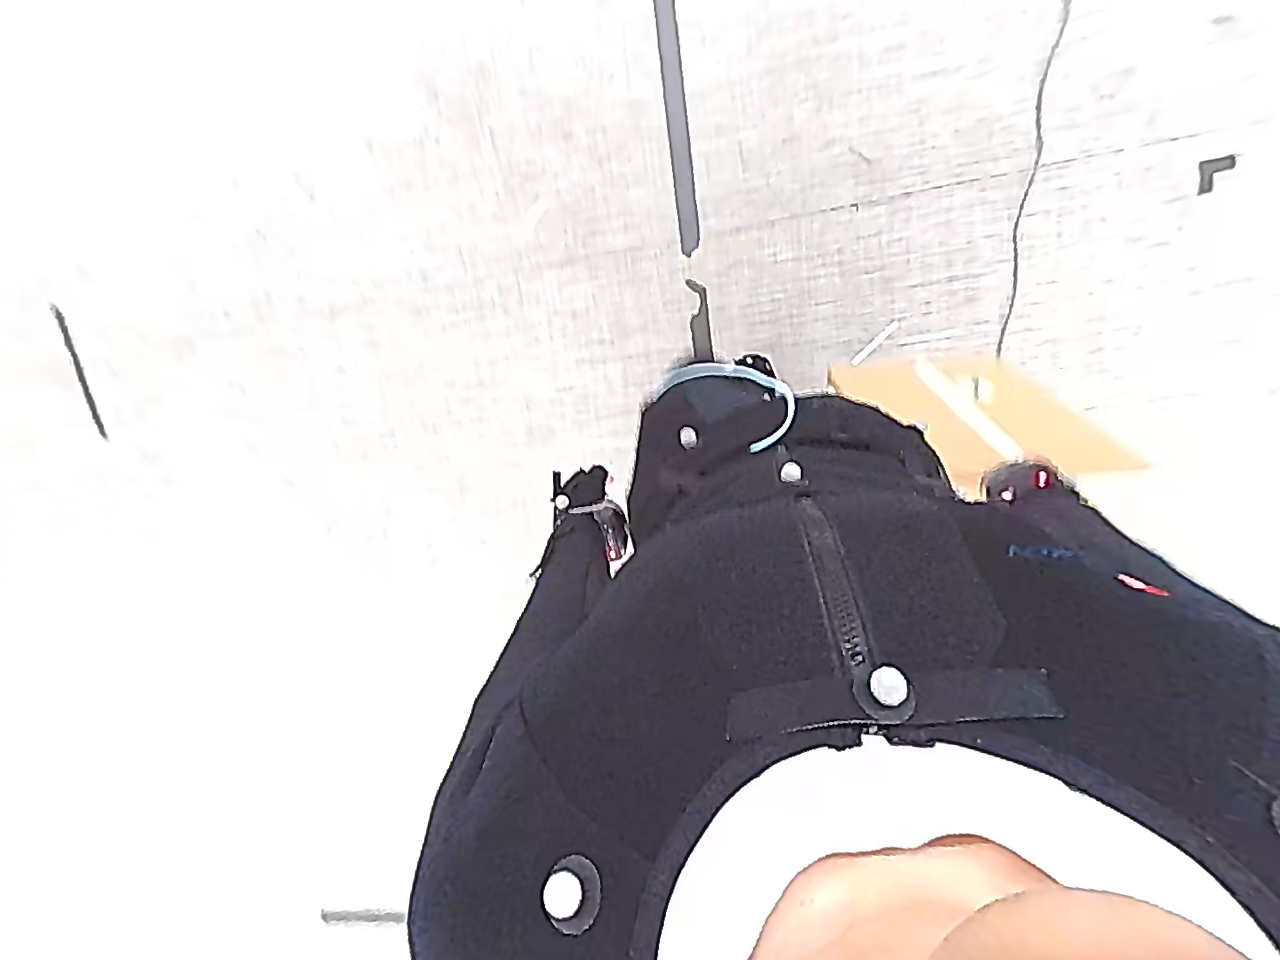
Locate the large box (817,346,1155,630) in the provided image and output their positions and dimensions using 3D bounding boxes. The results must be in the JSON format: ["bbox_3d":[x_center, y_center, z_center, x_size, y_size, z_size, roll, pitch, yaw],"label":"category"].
[{"bbox_3d":[0.510,-0.003,0.922,0.320,0.408,0.320,-3,123,5],"label":"large box"}]
